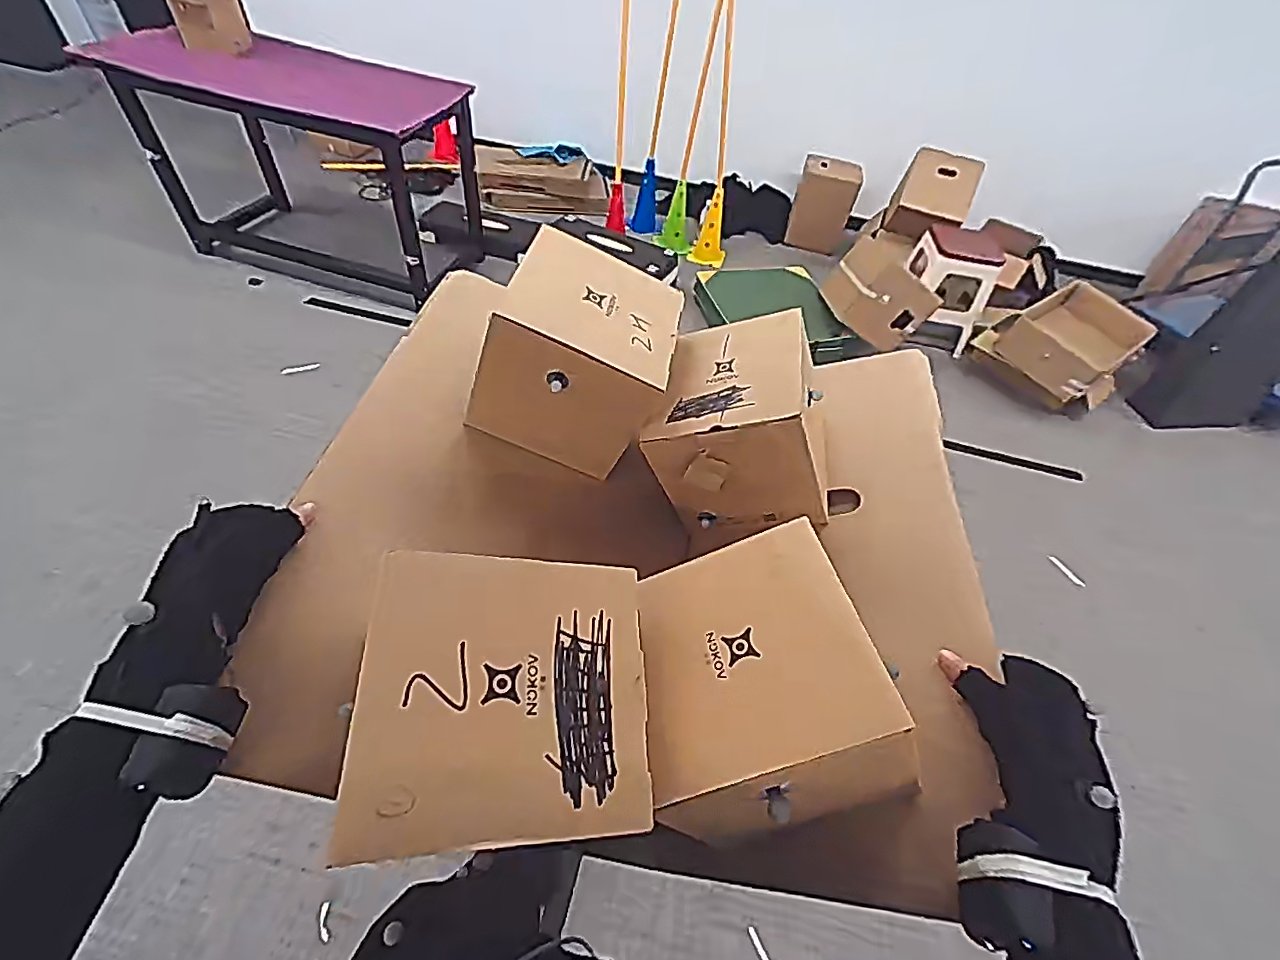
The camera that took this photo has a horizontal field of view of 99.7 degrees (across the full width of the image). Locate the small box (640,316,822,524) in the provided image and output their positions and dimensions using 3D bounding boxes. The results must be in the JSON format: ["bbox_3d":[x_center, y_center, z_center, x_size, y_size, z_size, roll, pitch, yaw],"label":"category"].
[{"bbox_3d":[0.119,-0.060,0.642,0.168,0.176,0.179,-7,47,24],"label":"small box"}]
